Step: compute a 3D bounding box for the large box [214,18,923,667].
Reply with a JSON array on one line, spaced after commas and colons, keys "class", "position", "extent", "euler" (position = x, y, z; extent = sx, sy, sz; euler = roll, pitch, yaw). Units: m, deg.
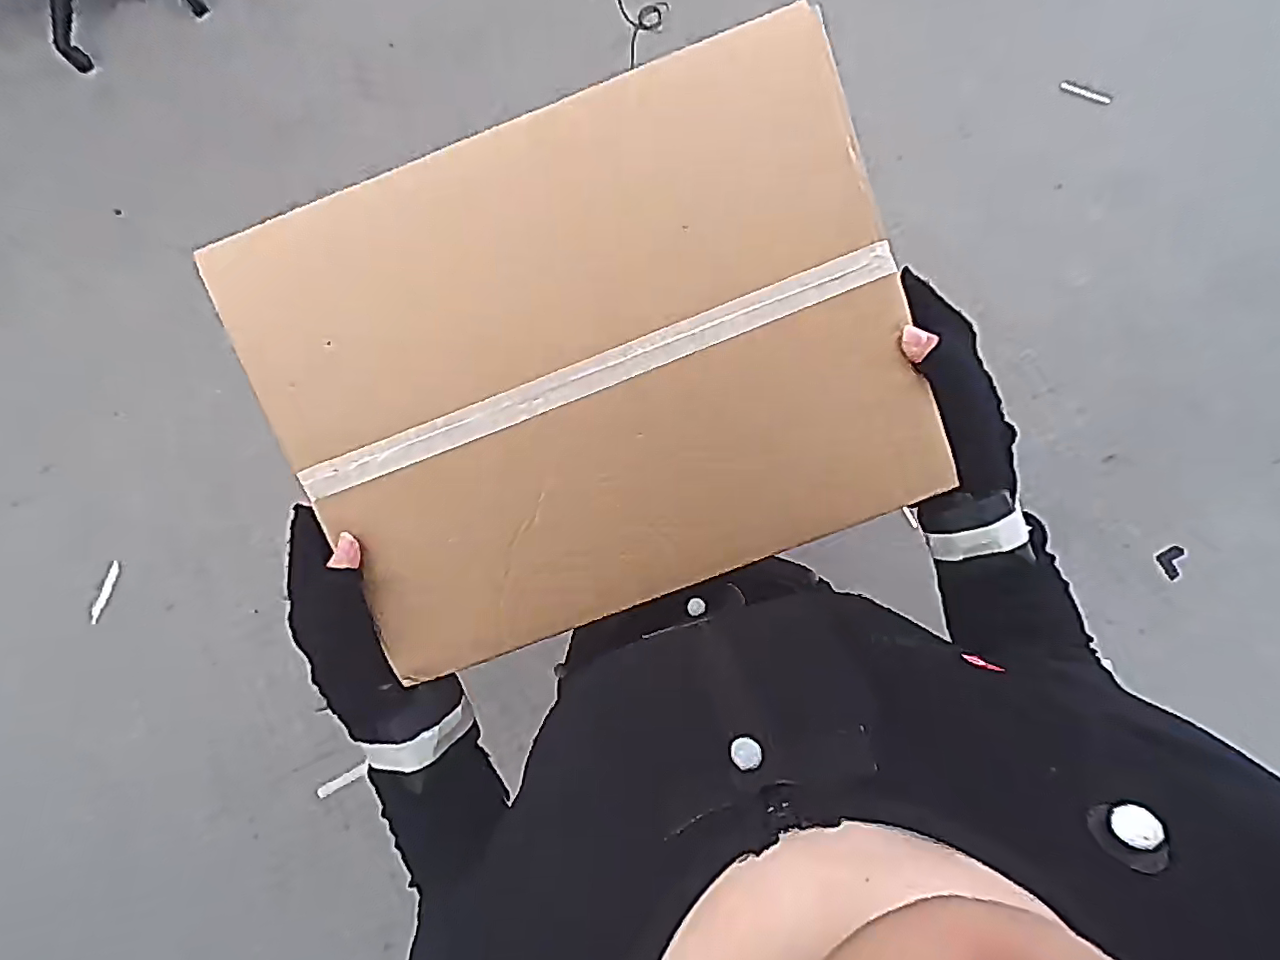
[{"class": "large box", "position": [-0.040, -0.098, 0.508], "extent": [0.408, 0.320, 0.320], "euler": [-21, 98, 3]}]
